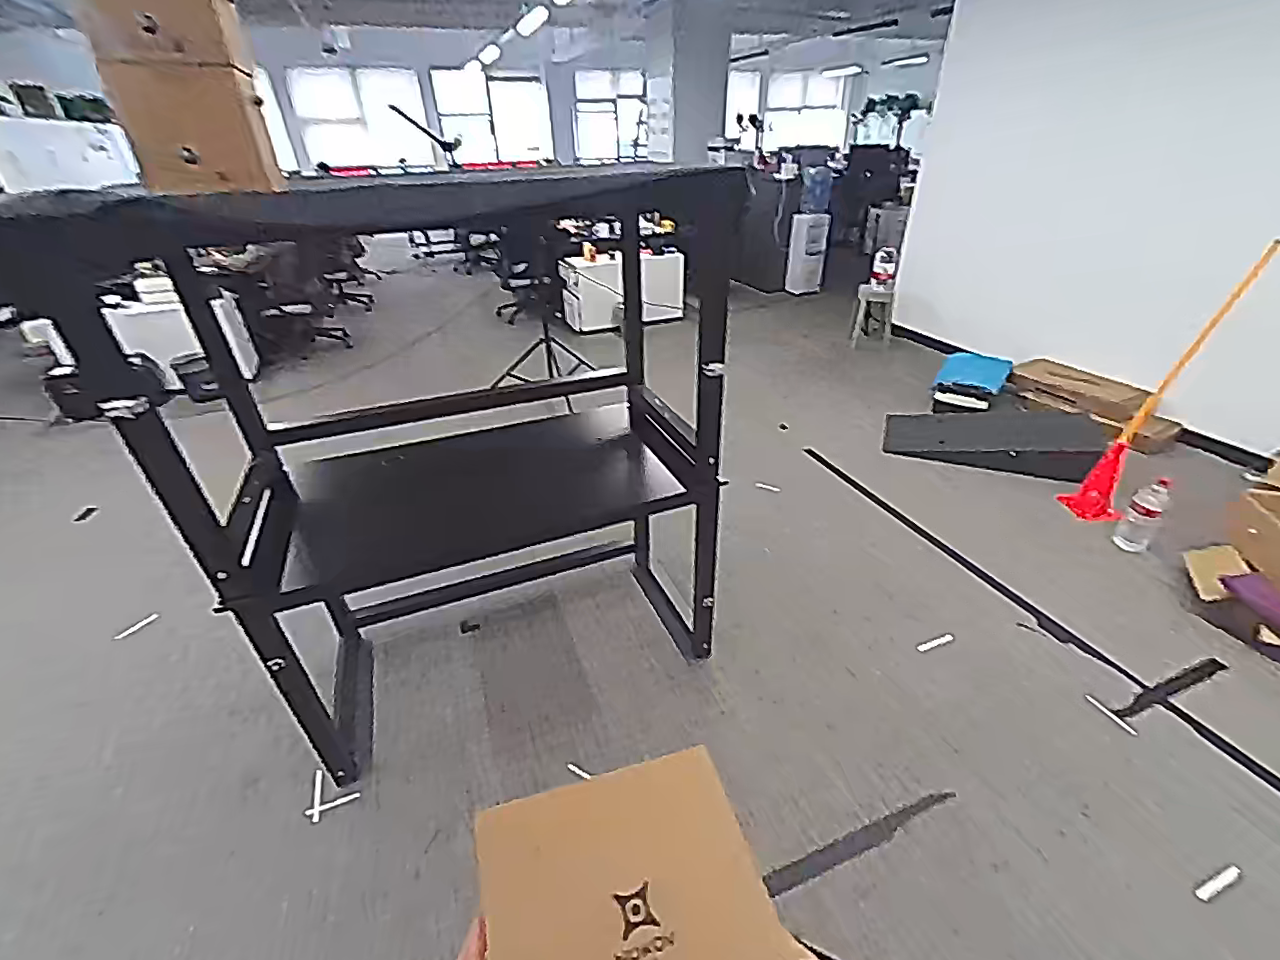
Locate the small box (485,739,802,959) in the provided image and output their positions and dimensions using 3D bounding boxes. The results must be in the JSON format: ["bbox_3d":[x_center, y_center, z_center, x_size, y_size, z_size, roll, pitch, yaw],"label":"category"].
[{"bbox_3d":[-0.010,0.312,0.360,0.168,0.176,0.179,-6,43,-19],"label":"small box"}]

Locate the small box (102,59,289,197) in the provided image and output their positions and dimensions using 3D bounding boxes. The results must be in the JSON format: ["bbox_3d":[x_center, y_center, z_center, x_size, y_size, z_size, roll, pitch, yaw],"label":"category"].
[{"bbox_3d":[-0.689,-0.552,0.867,0.168,0.176,0.179,-13,33,-19],"label":"small box"}]
